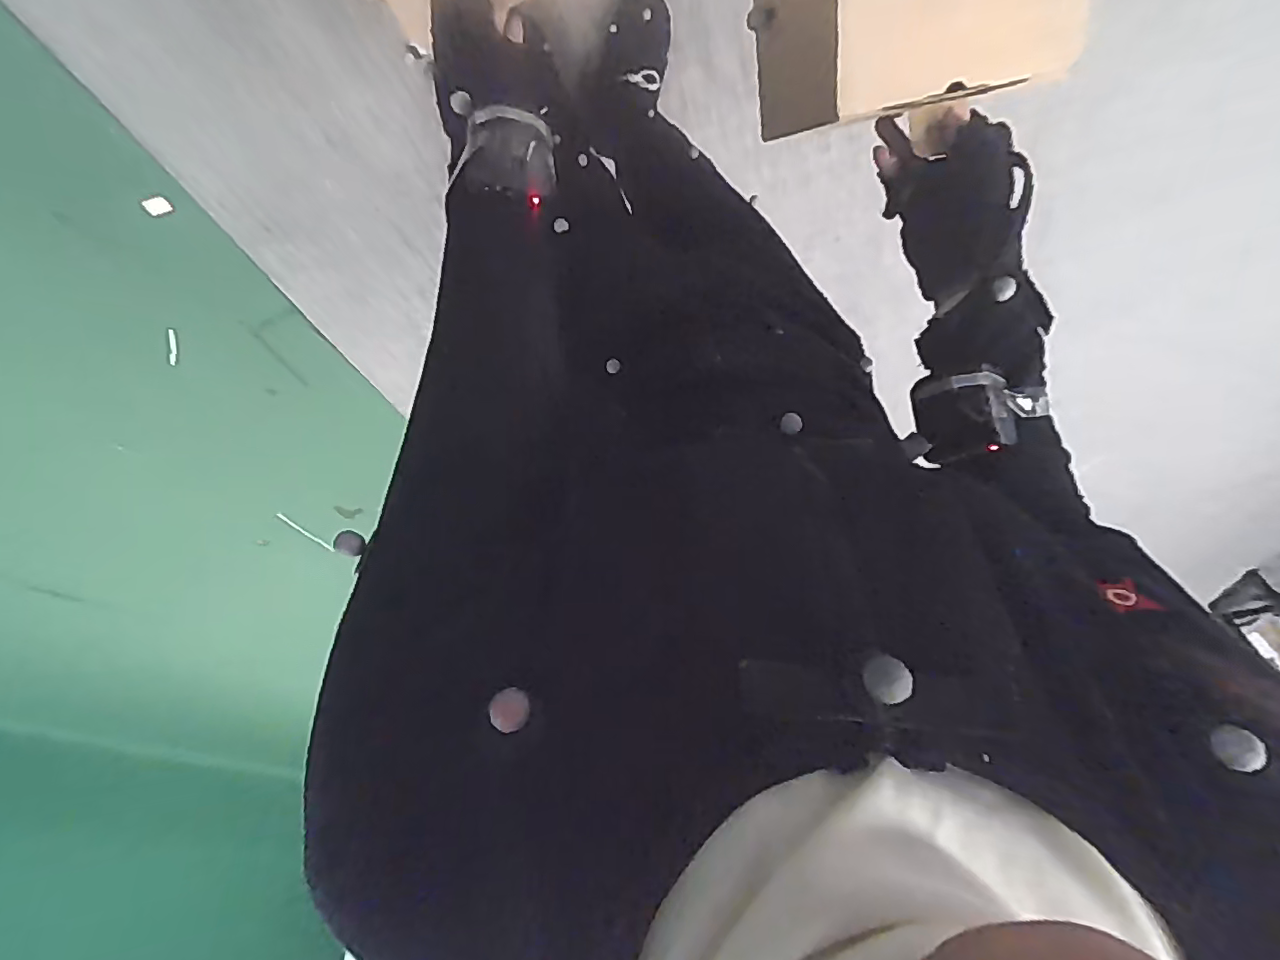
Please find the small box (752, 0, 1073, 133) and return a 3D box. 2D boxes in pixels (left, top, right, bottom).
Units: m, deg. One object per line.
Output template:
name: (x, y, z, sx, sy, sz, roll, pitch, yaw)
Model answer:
small box: (0.186, -0.374, 0.401, 0.168, 0.176, 0.179, -13, 119, -1)
